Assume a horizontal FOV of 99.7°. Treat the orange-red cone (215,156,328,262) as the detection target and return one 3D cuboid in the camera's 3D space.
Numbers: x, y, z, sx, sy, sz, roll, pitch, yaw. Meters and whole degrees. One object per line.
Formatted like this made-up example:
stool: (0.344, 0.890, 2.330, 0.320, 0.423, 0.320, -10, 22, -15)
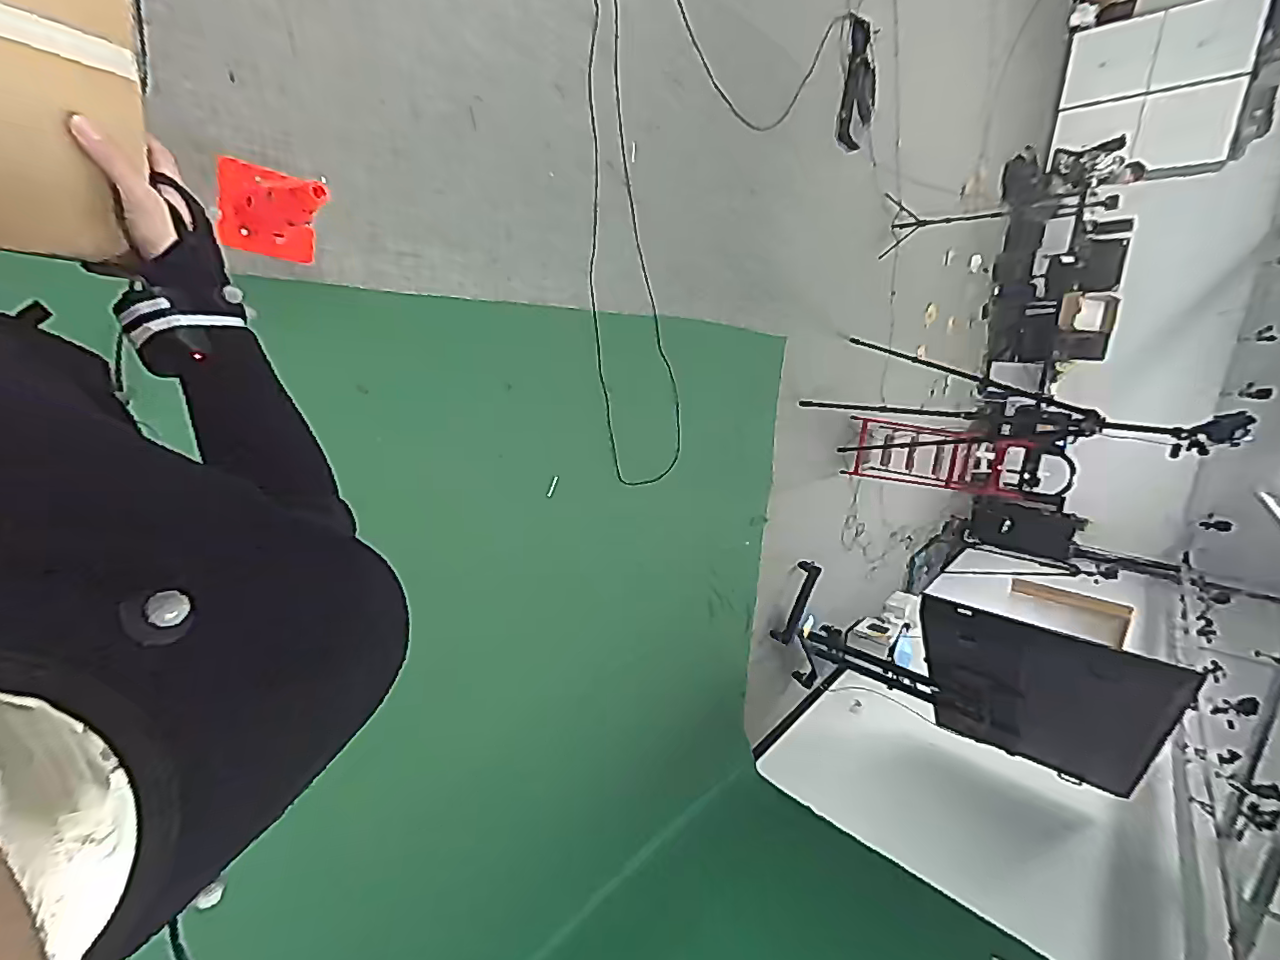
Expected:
orange-red cone: (-0.780, -0.616, 1.207, 0.199, 0.360, 0.198, -3, 105, -50)
